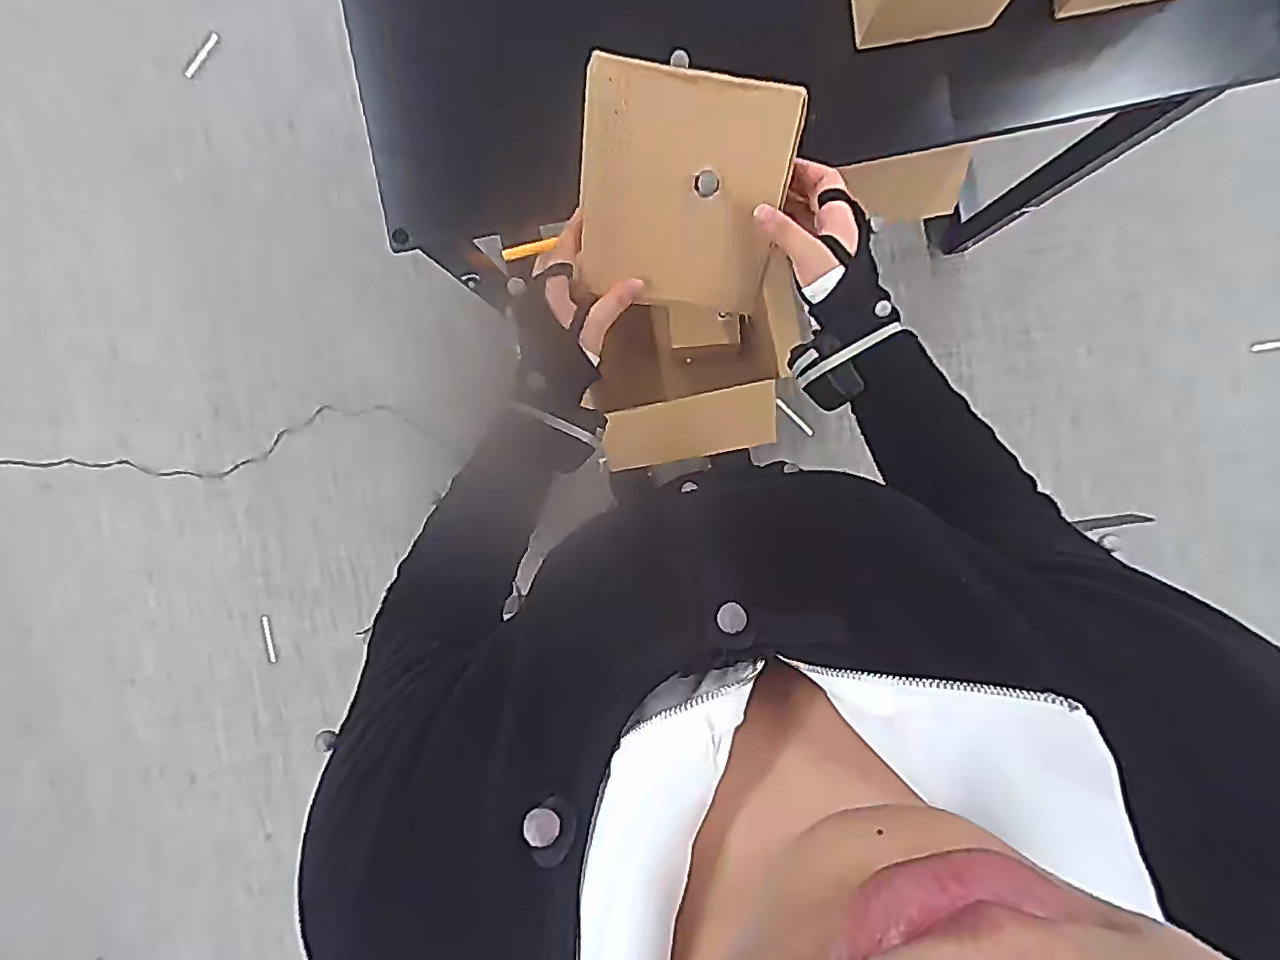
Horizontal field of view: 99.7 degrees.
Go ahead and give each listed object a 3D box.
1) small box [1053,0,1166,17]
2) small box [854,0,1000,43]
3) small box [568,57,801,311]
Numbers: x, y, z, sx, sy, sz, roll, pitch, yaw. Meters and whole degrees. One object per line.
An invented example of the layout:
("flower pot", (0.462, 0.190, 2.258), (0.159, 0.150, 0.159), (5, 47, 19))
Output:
("small box", (0.596, -0.686, 0.609), (0.168, 0.176, 0.179), (-8, 94, 3))
("small box", (0.353, -0.651, 0.622), (0.179, 0.176, 0.168), (-8, 94, 2))
("small box", (0.023, -0.273, 0.508), (0.176, 0.168, 0.179), (3, 123, -9))
